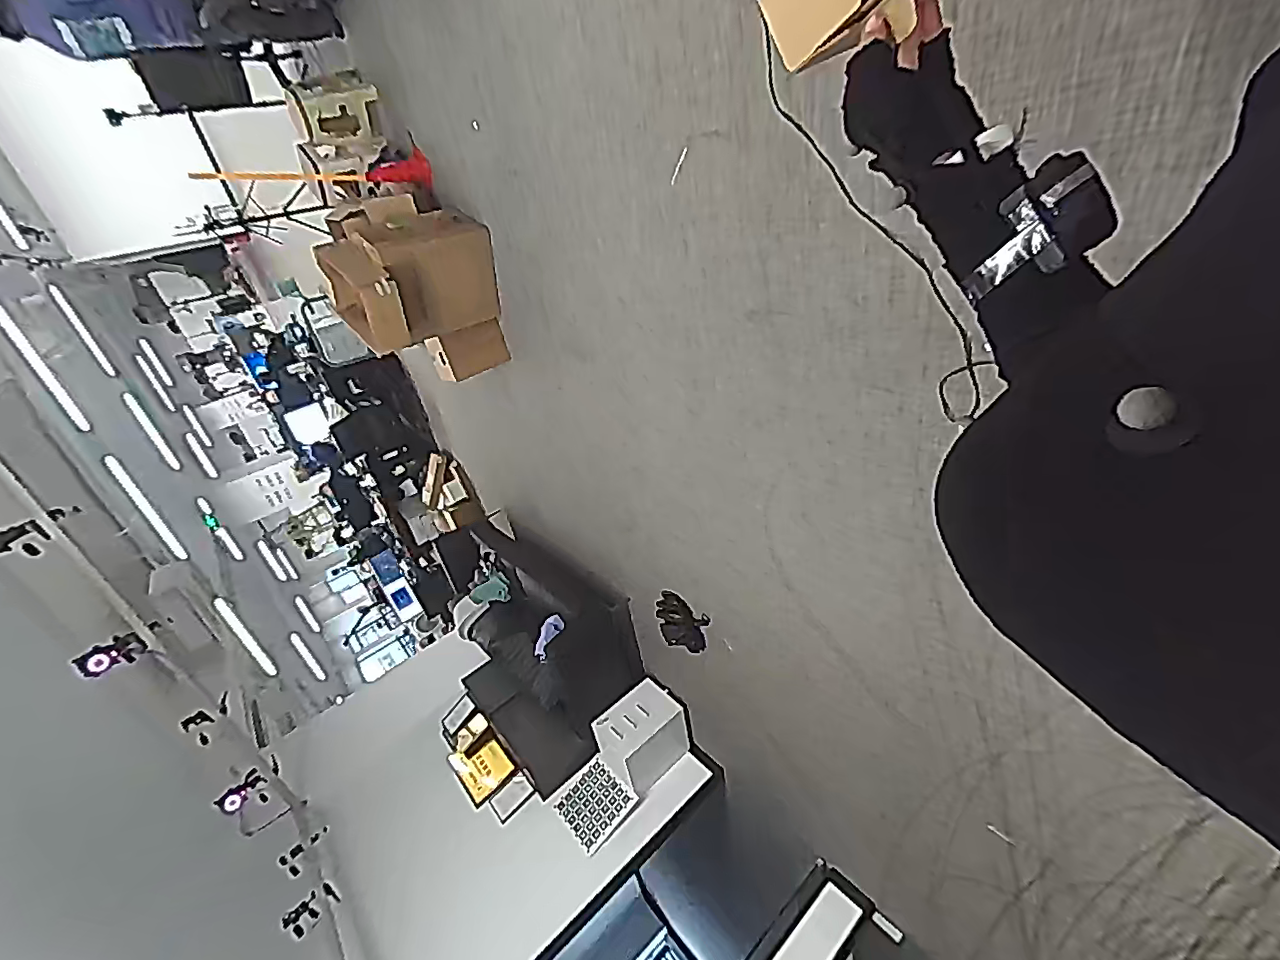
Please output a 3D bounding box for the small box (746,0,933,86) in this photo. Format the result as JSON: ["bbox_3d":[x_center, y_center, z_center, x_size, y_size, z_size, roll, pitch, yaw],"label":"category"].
[{"bbox_3d":[0.179,-0.455,0.405,0.179,0.176,0.168,59,155,-14],"label":"small box"}]
